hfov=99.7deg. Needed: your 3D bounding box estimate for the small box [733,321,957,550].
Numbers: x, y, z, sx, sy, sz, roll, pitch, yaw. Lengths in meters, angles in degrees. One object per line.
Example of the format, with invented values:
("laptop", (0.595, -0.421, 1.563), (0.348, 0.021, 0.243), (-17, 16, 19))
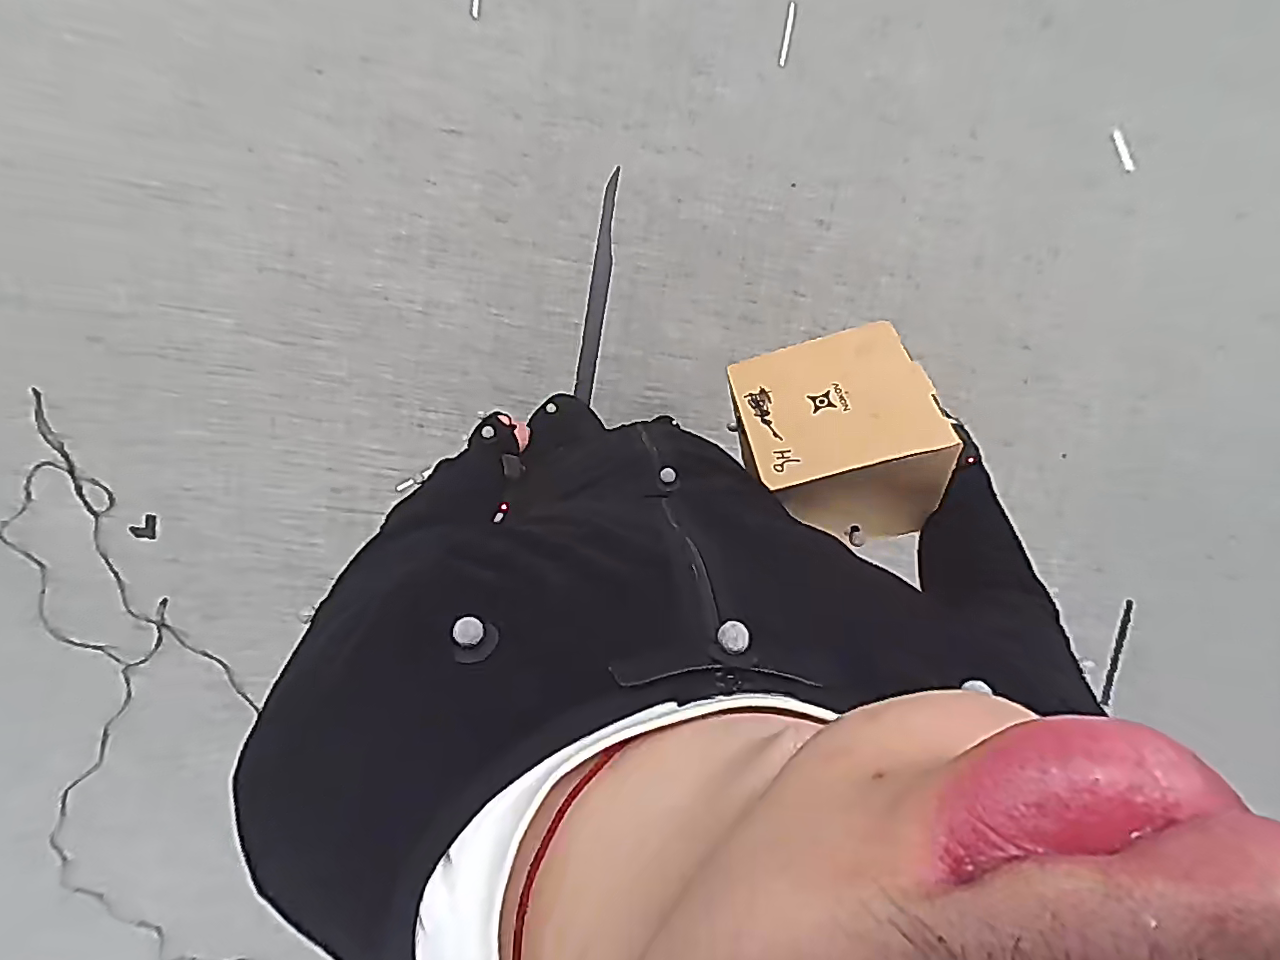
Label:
("small box", (0.213, -0.041, 0.604), (0.179, 0.176, 0.168), (-14, 55, 8))
